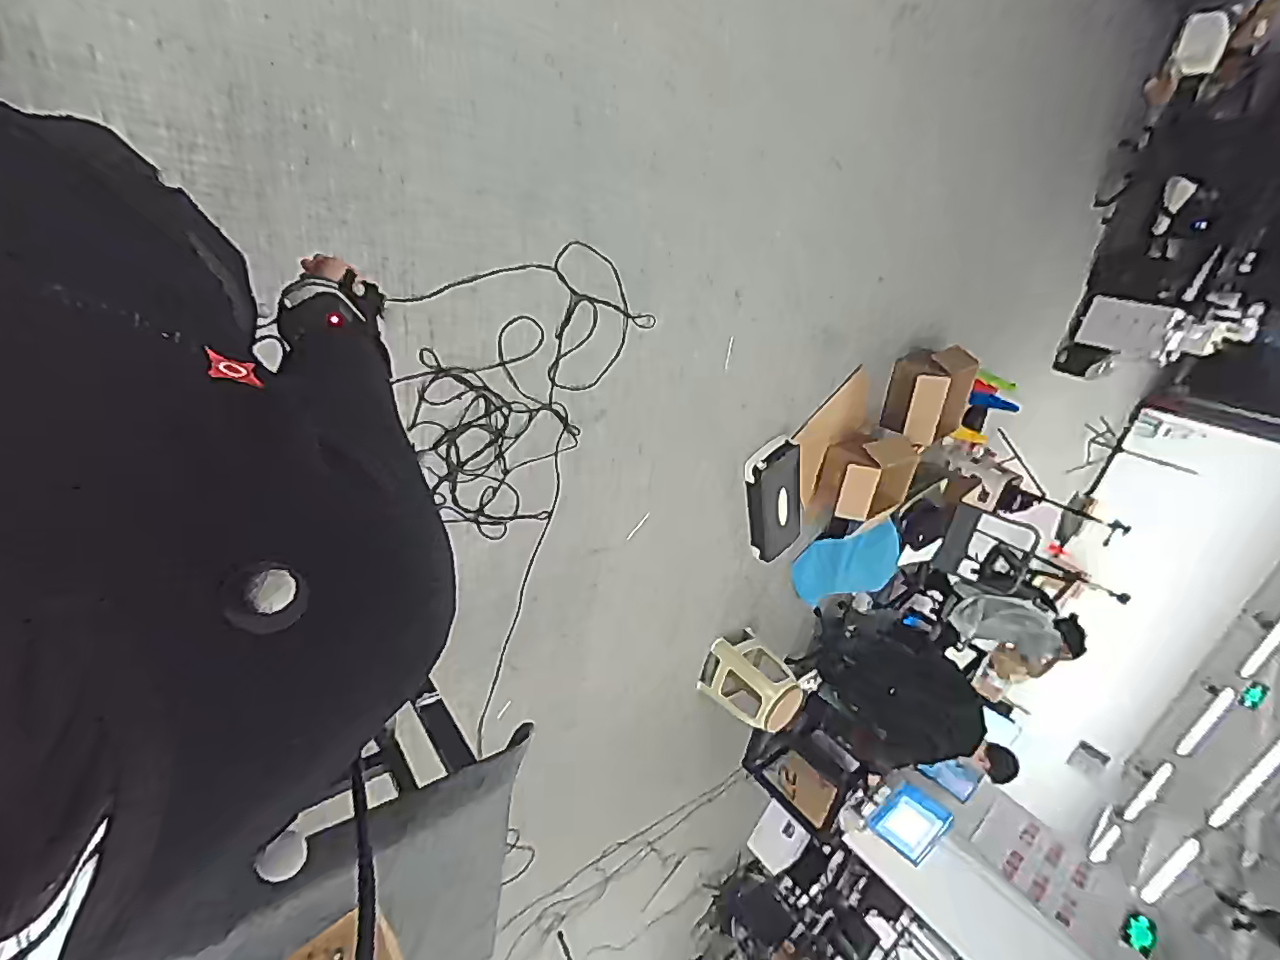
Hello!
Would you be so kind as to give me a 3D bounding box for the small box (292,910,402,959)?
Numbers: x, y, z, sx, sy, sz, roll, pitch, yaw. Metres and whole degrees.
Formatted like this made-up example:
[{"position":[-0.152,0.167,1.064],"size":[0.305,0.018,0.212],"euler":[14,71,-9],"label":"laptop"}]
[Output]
[{"position":[-0.485,0.881,0.903],"size":[0.168,0.176,0.179],"euler":[-23,128,-32],"label":"small box"}]
